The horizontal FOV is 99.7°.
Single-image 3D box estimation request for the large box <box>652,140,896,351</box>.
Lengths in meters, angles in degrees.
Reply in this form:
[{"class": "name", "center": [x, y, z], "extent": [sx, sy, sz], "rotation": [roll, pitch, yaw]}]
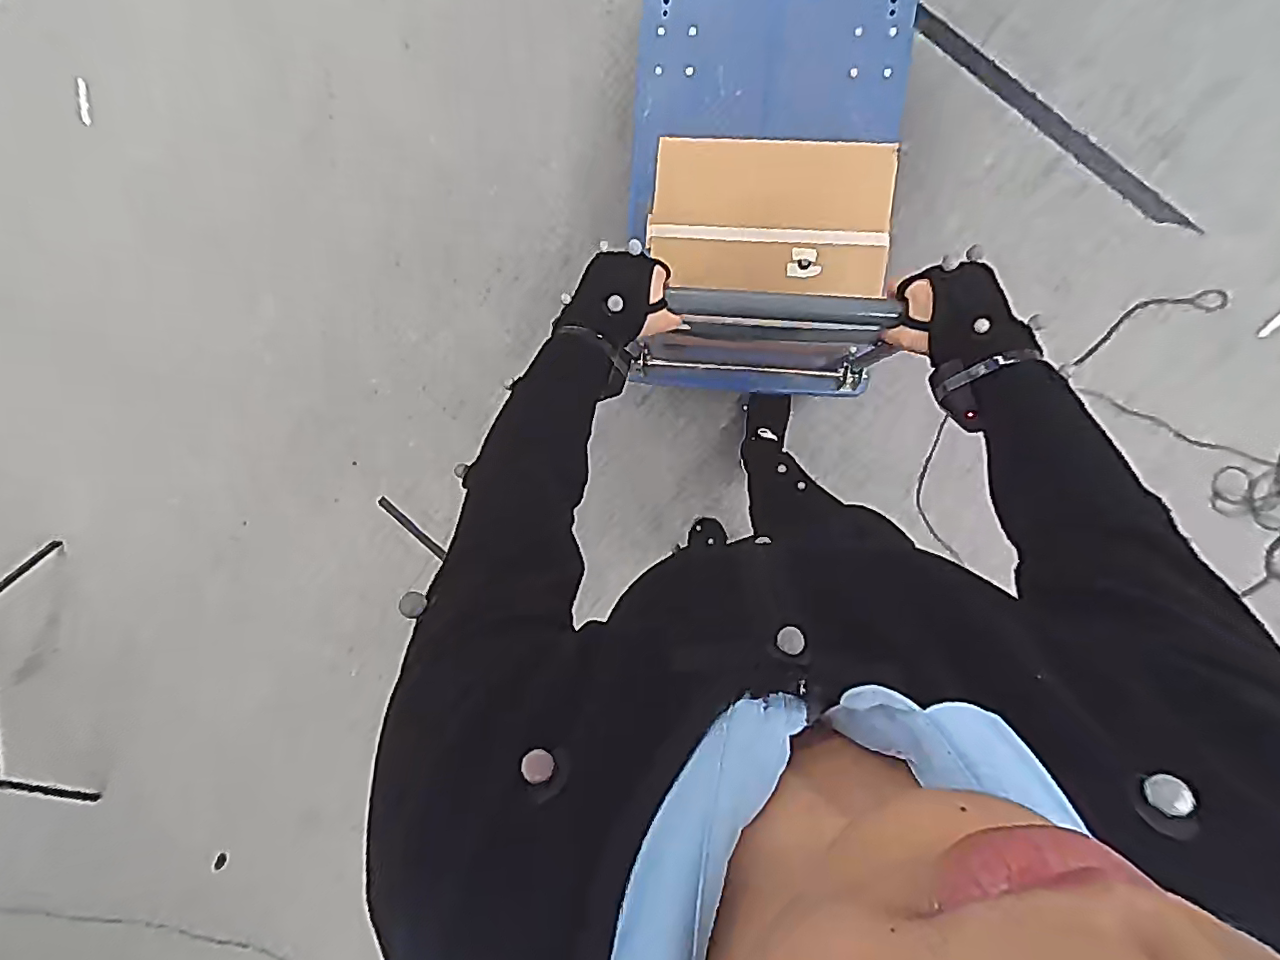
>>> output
[{"class": "large box", "center": [0.238, -0.443, 1.088], "extent": [0.408, 0.320, 0.320], "rotation": [5, 97, 5]}]
